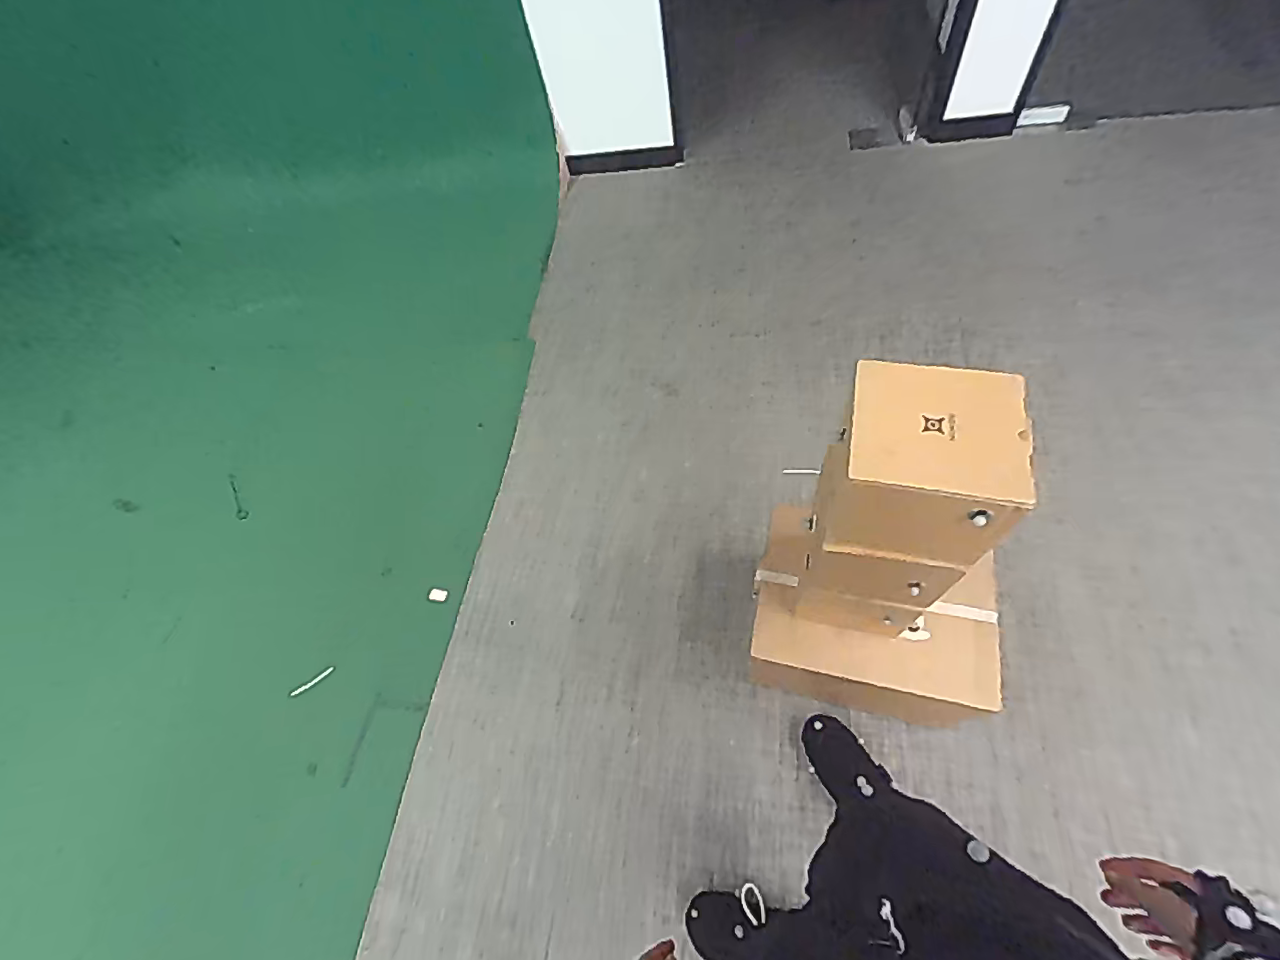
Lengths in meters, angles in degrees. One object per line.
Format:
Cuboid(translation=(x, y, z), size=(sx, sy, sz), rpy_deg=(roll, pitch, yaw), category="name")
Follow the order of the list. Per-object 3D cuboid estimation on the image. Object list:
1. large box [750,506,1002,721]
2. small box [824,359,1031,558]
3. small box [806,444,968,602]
Cuboid(translation=(0.449, 0.278, 1.113), size=(0.408, 0.320, 0.320), rpy_deg=(8, 64, 14), category="large box")
Cuboid(translation=(0.323, -0.021, 0.643), size=(0.179, 0.176, 0.168), rpy_deg=(8, 62, 14), category="small box")
Cuboid(translation=(0.343, 0.067, 0.779), size=(0.179, 0.176, 0.168), rpy_deg=(5, 61, 14), category="small box")
